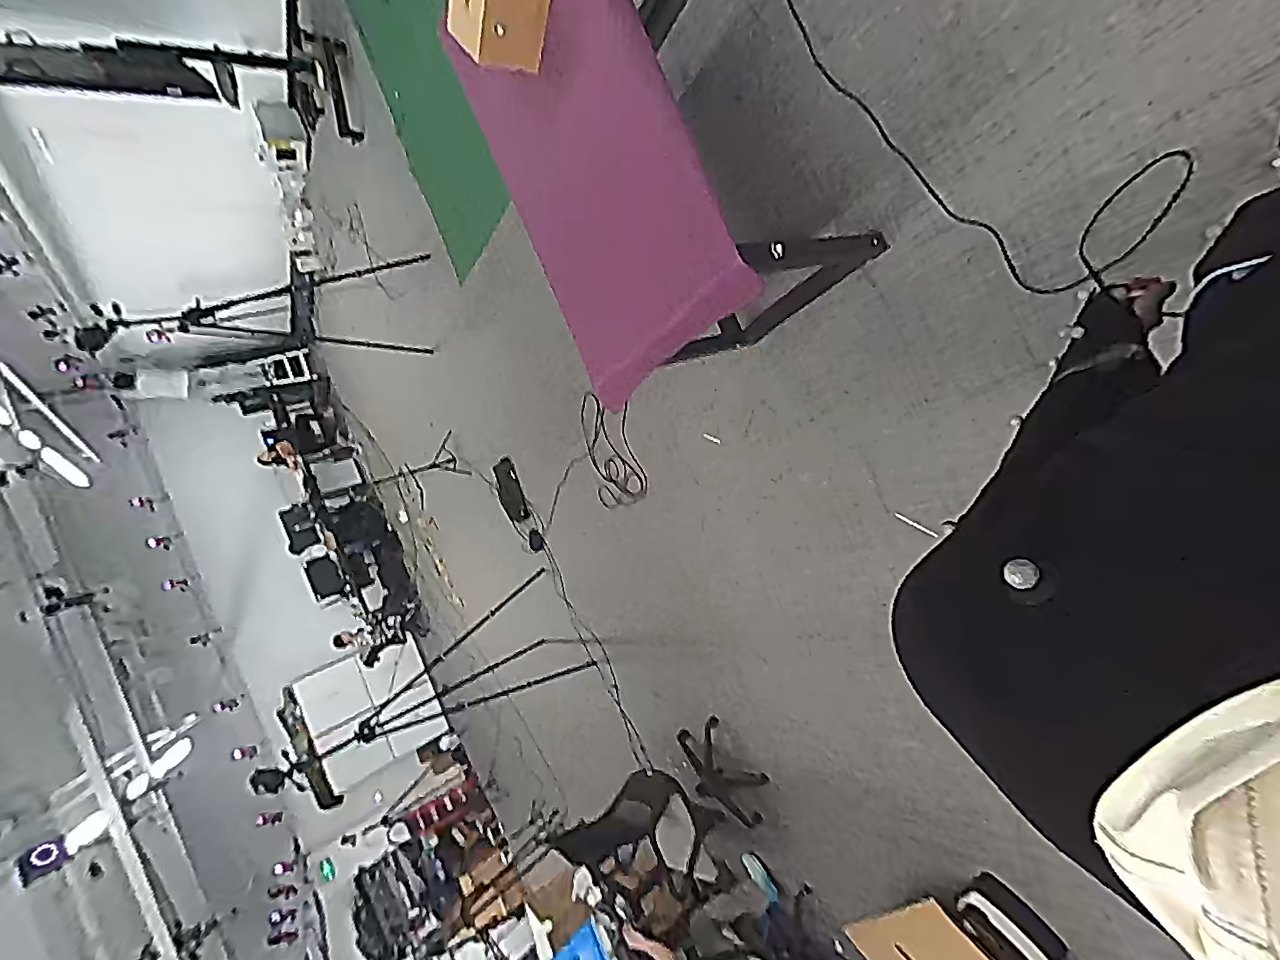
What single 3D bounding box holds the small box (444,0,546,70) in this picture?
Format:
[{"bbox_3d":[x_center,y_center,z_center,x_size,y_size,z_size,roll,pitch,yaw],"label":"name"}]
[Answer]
[{"bbox_3d":[-0.342,-1.116,1.279,0.168,0.176,0.179,53,142,18],"label":"small box"}]
